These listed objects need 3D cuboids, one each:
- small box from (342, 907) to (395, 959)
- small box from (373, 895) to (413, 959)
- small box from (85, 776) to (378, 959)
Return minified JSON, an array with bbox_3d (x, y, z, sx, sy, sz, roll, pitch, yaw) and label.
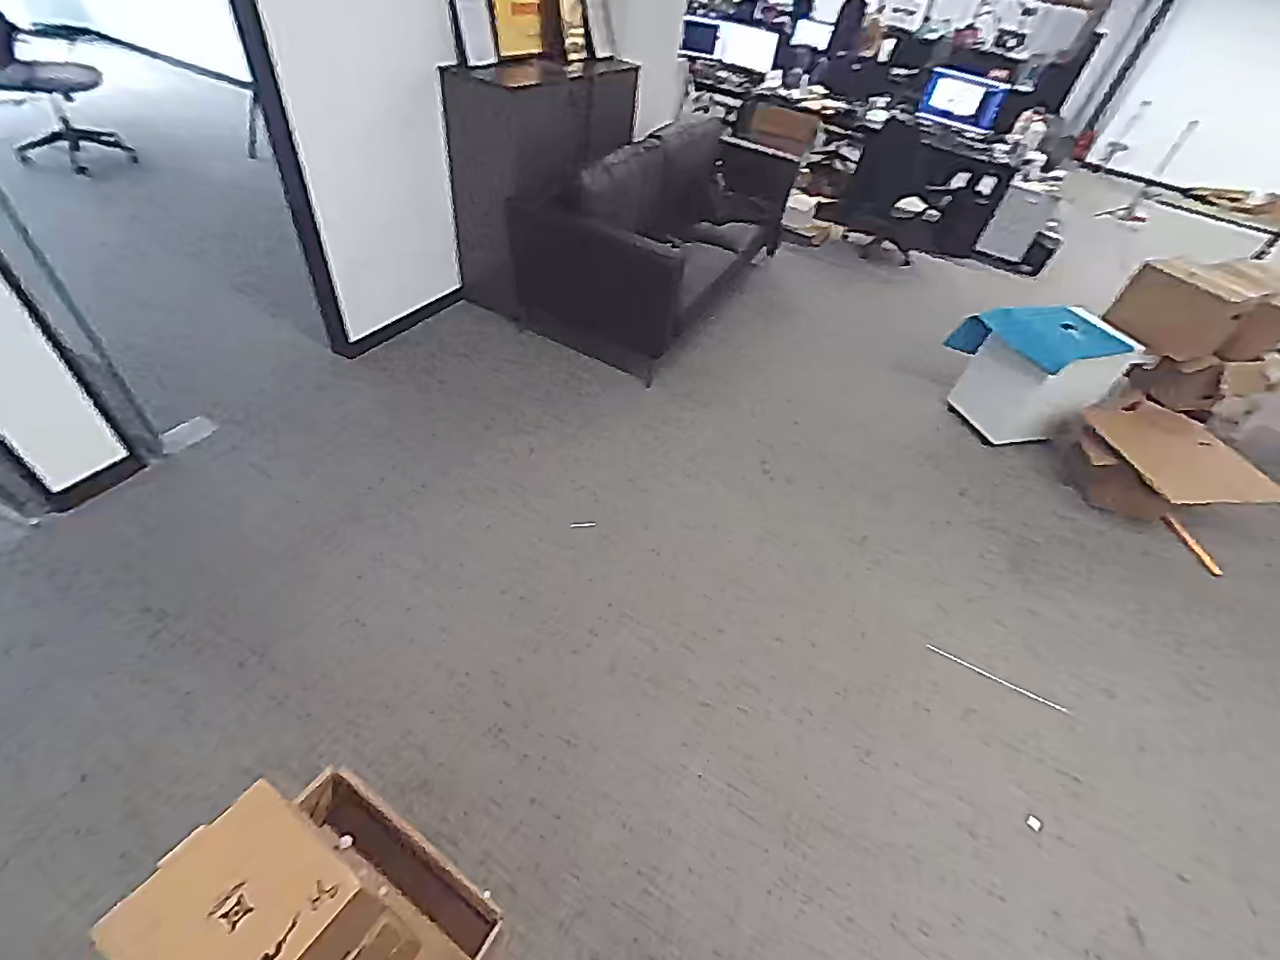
[{"bbox_3d":[-0.445,0.594,0.692,0.179,0.176,0.168,30,47,19],"label":"small box"},{"bbox_3d":[-0.469,0.710,0.806,0.179,0.176,0.168,30,47,17],"label":"small box"},{"bbox_3d":[-0.420,0.471,0.586,0.179,0.176,0.168,30,47,18],"label":"small box"}]
